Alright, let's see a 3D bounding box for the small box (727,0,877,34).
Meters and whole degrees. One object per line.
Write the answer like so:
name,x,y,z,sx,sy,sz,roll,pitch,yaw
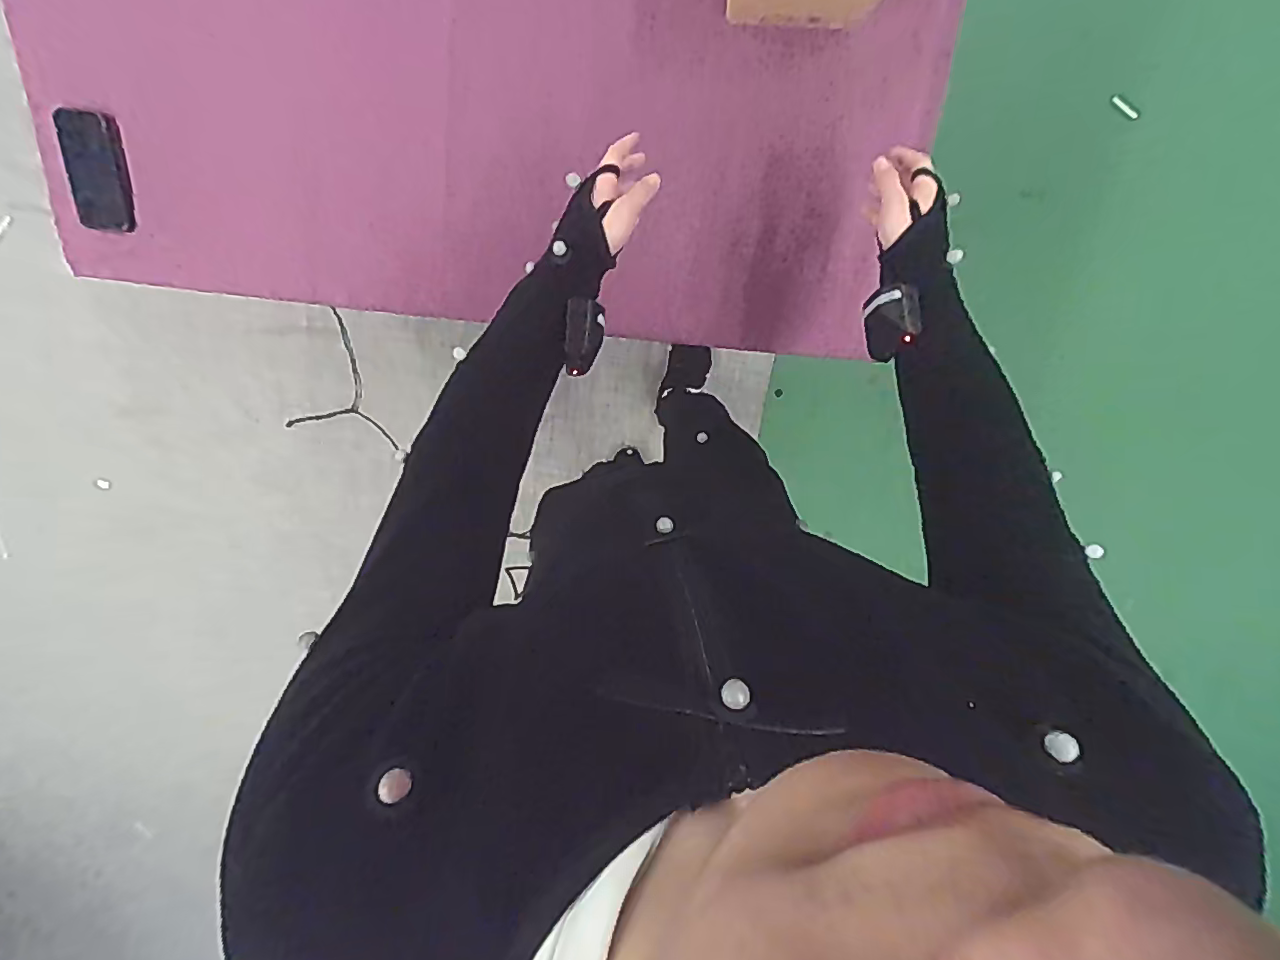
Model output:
small box,0.185,-0.606,0.555,0.168,0.176,0.179,5,109,3
